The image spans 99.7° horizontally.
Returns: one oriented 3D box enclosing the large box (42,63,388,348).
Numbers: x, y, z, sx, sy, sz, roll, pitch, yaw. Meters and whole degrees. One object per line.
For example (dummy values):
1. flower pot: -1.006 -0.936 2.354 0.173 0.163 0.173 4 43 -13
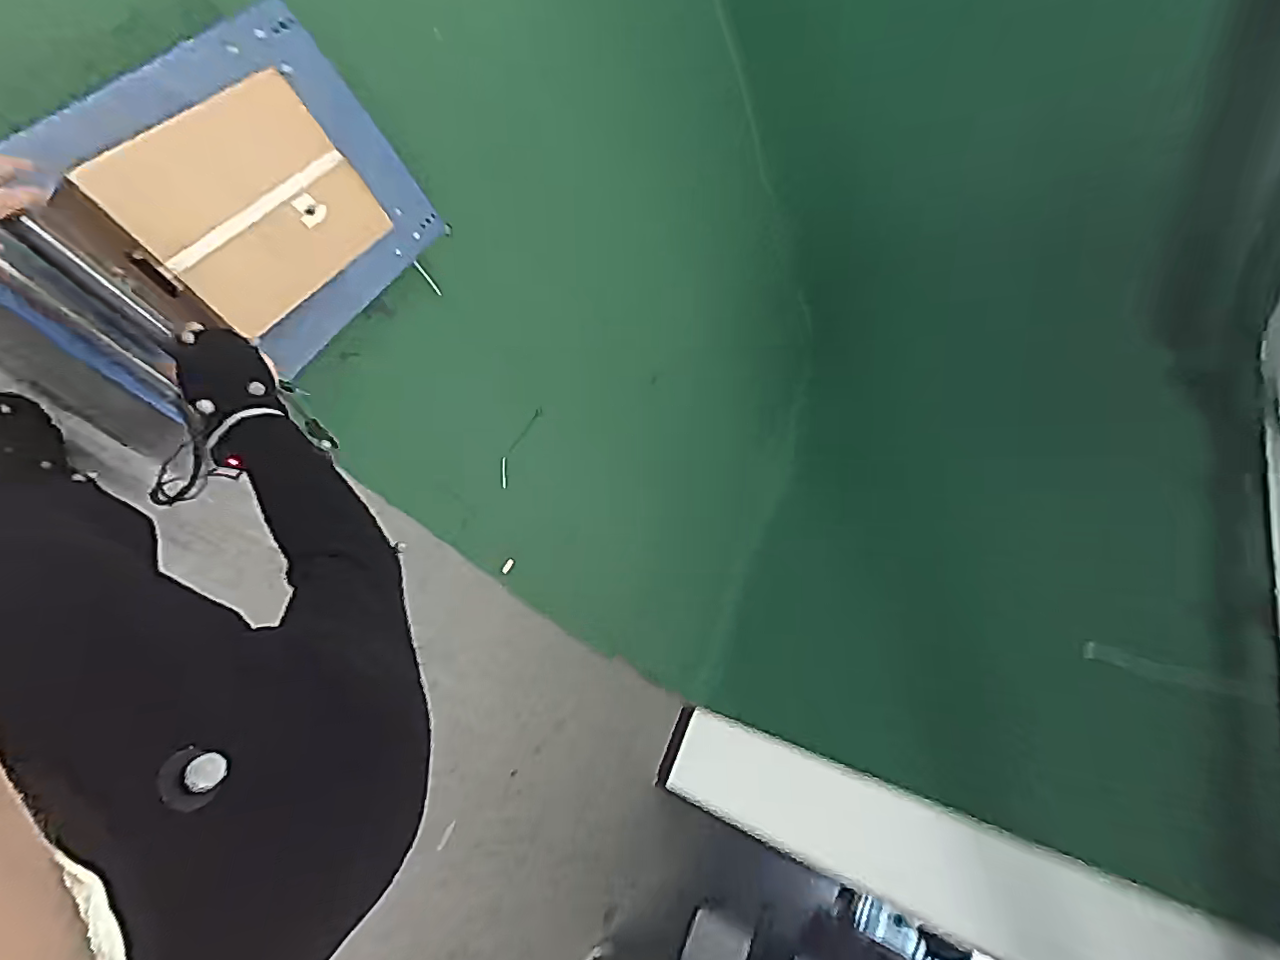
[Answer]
1. large box: -0.807 -0.513 1.062 0.408 0.320 0.320 -60 138 -28
